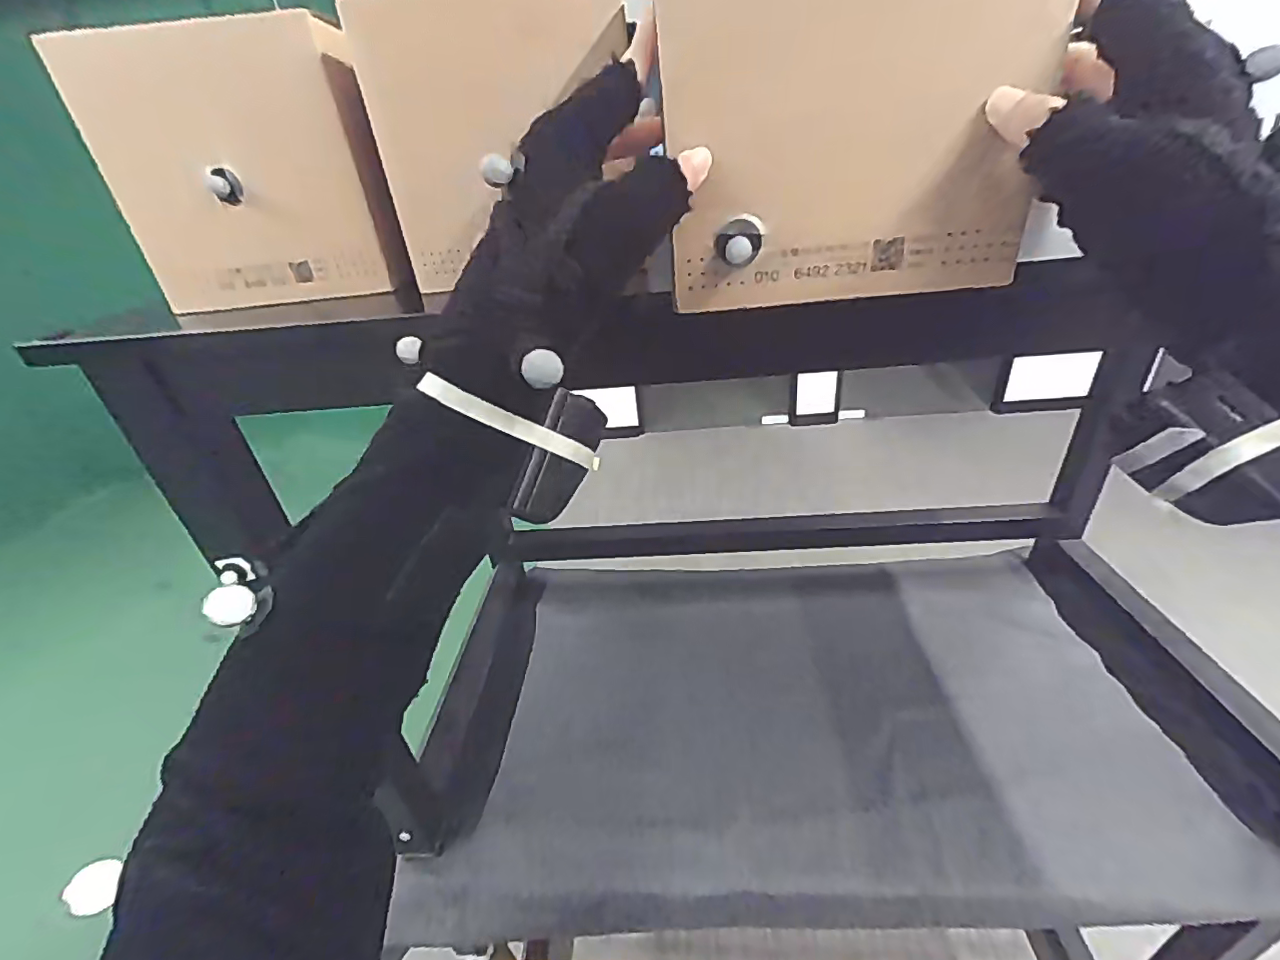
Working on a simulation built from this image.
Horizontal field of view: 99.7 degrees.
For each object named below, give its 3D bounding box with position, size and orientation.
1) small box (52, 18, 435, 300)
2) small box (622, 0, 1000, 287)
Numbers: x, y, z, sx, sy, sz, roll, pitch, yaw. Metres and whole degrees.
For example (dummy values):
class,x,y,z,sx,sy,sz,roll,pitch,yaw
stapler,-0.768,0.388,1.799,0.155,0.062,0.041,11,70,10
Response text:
class,x,y,z,sx,sy,sz,roll,pitch,yaw
small box,-0.290,-0.253,0.454,0.168,0.176,0.179,-6,30,-1
small box,0.085,-0.215,0.316,0.168,0.176,0.179,-3,30,6
